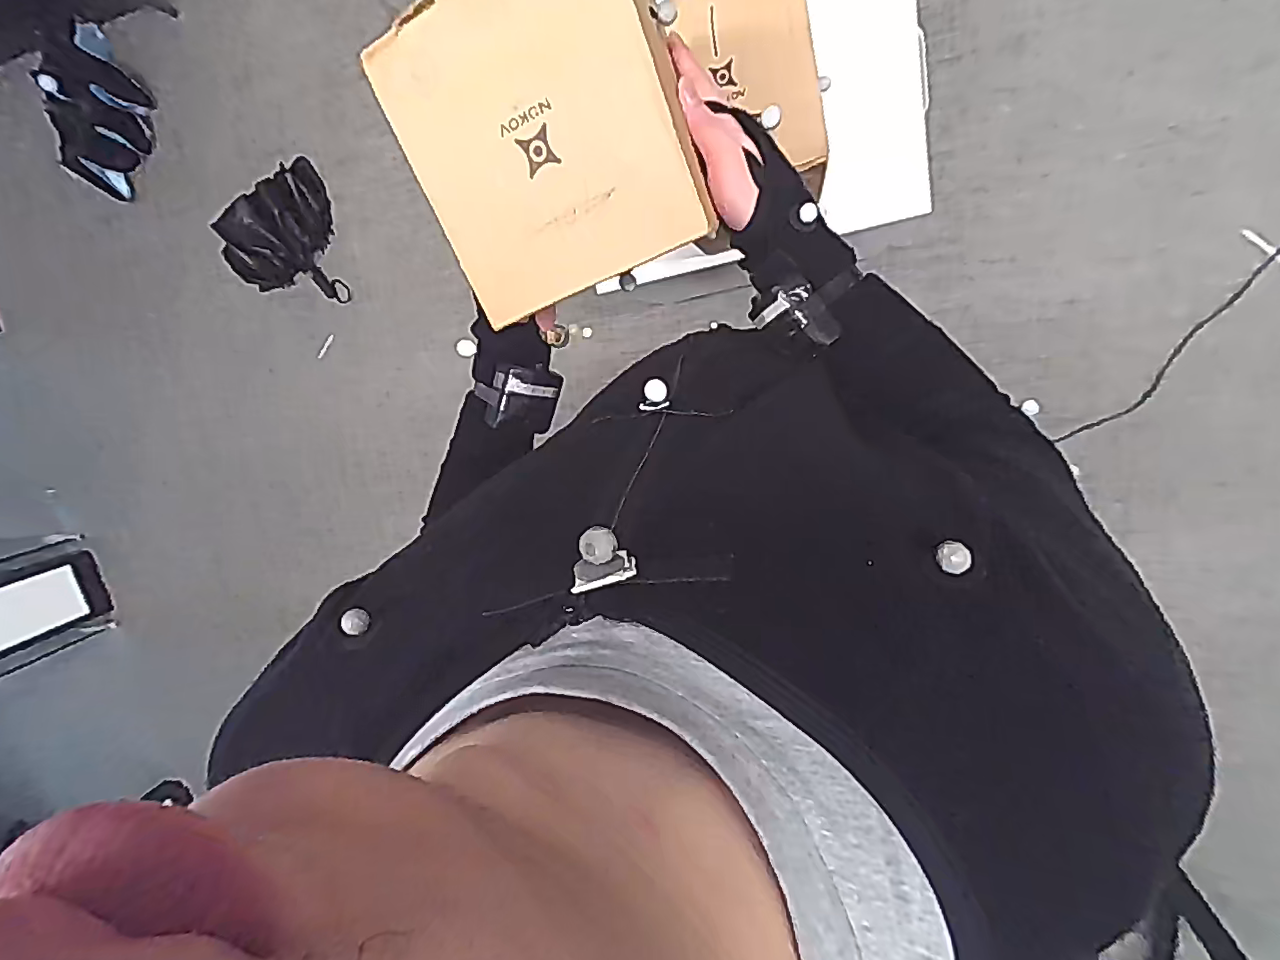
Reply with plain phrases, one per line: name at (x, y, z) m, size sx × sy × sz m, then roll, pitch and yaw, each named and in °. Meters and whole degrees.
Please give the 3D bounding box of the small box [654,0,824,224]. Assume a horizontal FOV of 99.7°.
small box at (0.095, -0.384, 0.573) m, size 0.168 × 0.176 × 0.179 m, roll -11°, pitch 101°, yaw 17°

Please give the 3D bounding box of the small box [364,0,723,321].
small box at (-0.046, -0.240, 0.395) m, size 0.168 × 0.176 × 0.179 m, roll -17°, pitch 112°, yaw 20°

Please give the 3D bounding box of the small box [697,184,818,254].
small box at (0.137, -0.426, 0.728) m, size 0.168 × 0.176 × 0.179 m, roll -11°, pitch 102°, yaw 18°
